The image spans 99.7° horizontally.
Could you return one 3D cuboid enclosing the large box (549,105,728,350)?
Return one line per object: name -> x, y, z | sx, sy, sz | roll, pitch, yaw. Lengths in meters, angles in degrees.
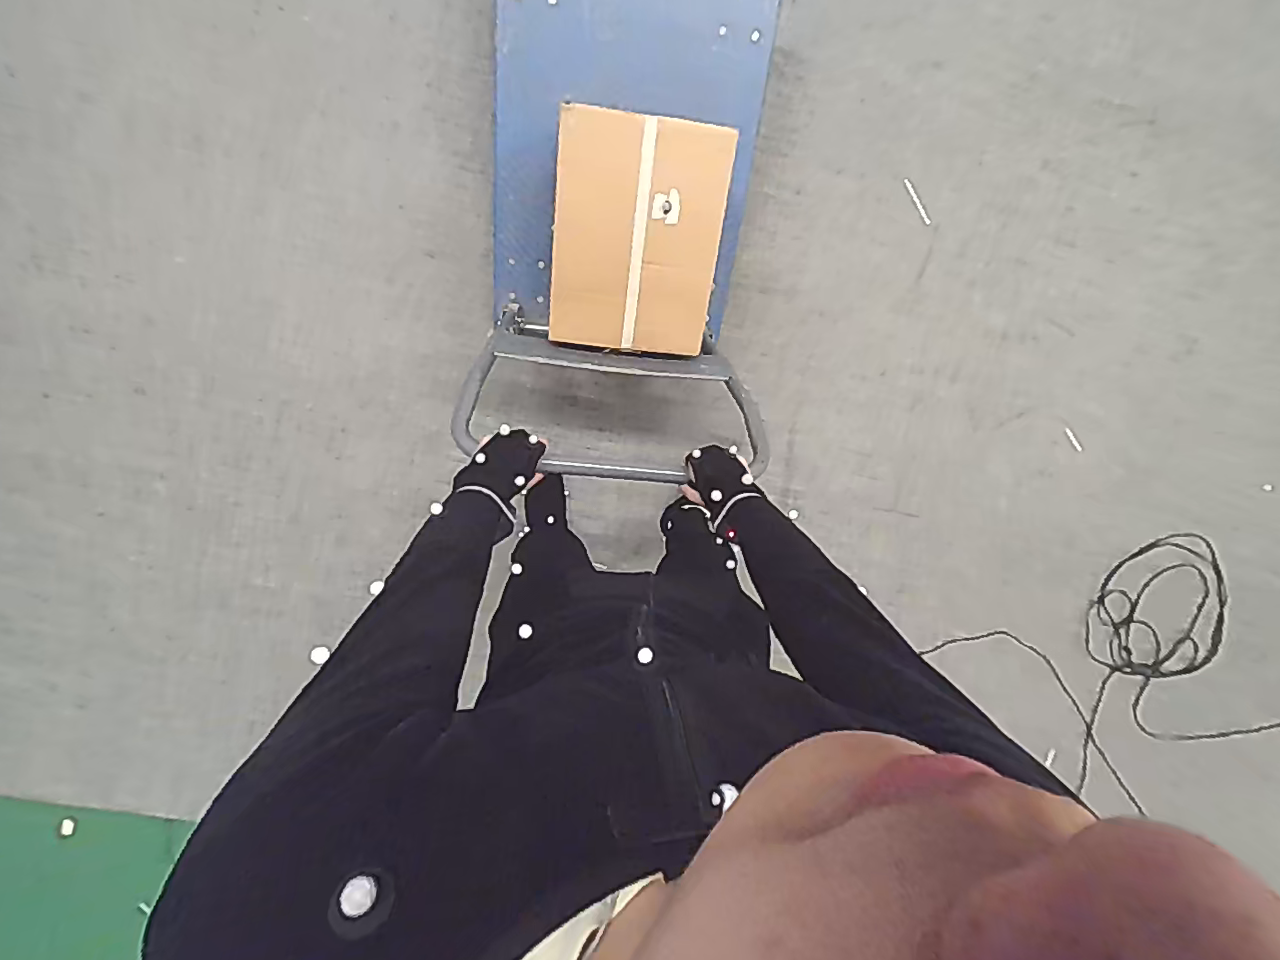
large box -> -0.022, -0.516, 1.155 | 0.320, 0.320, 0.408 | 3, 115, -7
